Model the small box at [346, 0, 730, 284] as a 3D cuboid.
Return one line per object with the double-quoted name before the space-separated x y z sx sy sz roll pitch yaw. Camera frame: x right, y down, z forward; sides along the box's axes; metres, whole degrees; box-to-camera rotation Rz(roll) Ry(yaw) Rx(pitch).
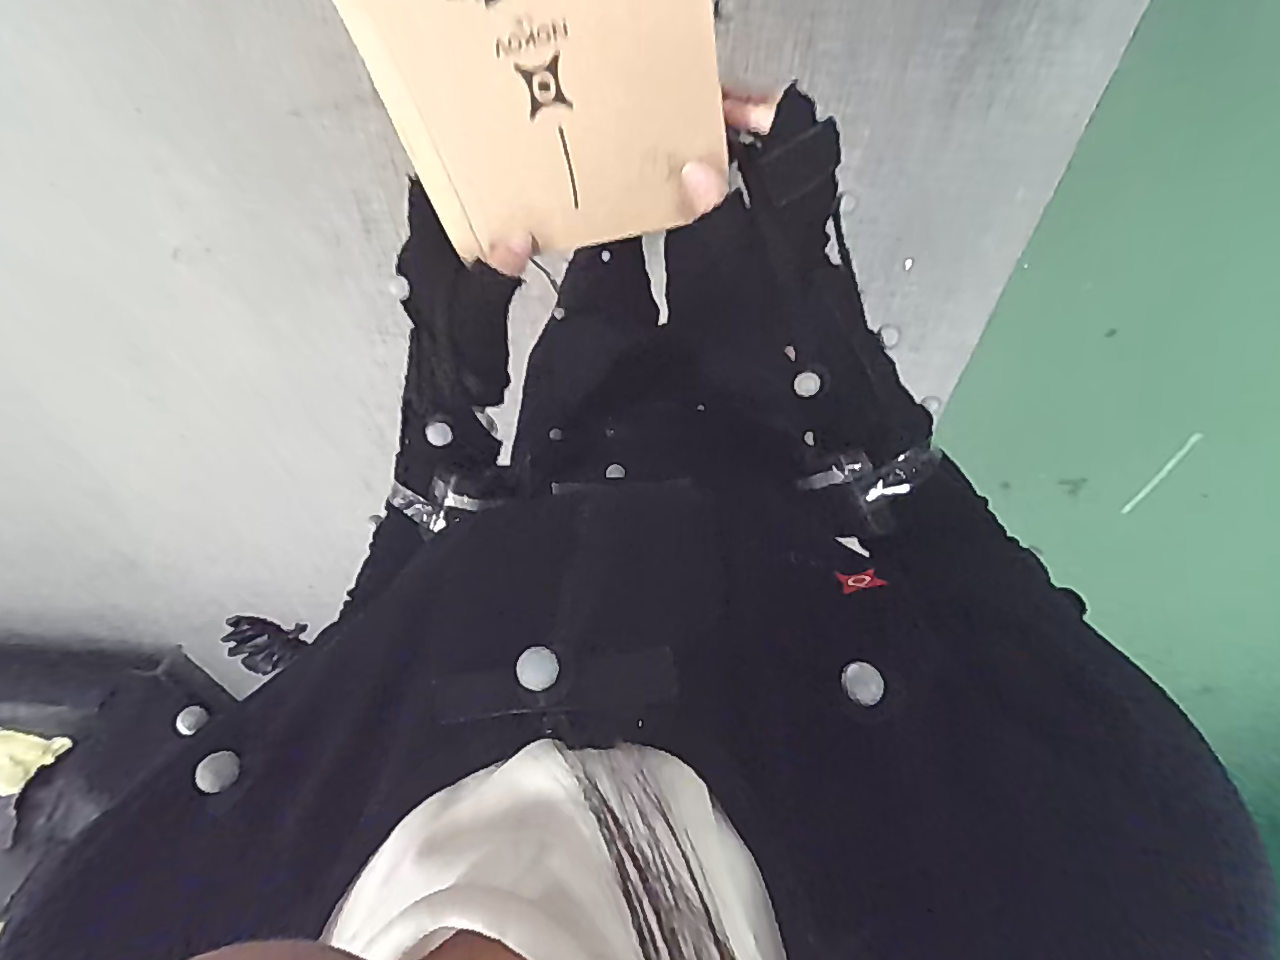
"small box" -0.040 -0.249 0.325 0.168 0.176 0.179 -6 136 11
